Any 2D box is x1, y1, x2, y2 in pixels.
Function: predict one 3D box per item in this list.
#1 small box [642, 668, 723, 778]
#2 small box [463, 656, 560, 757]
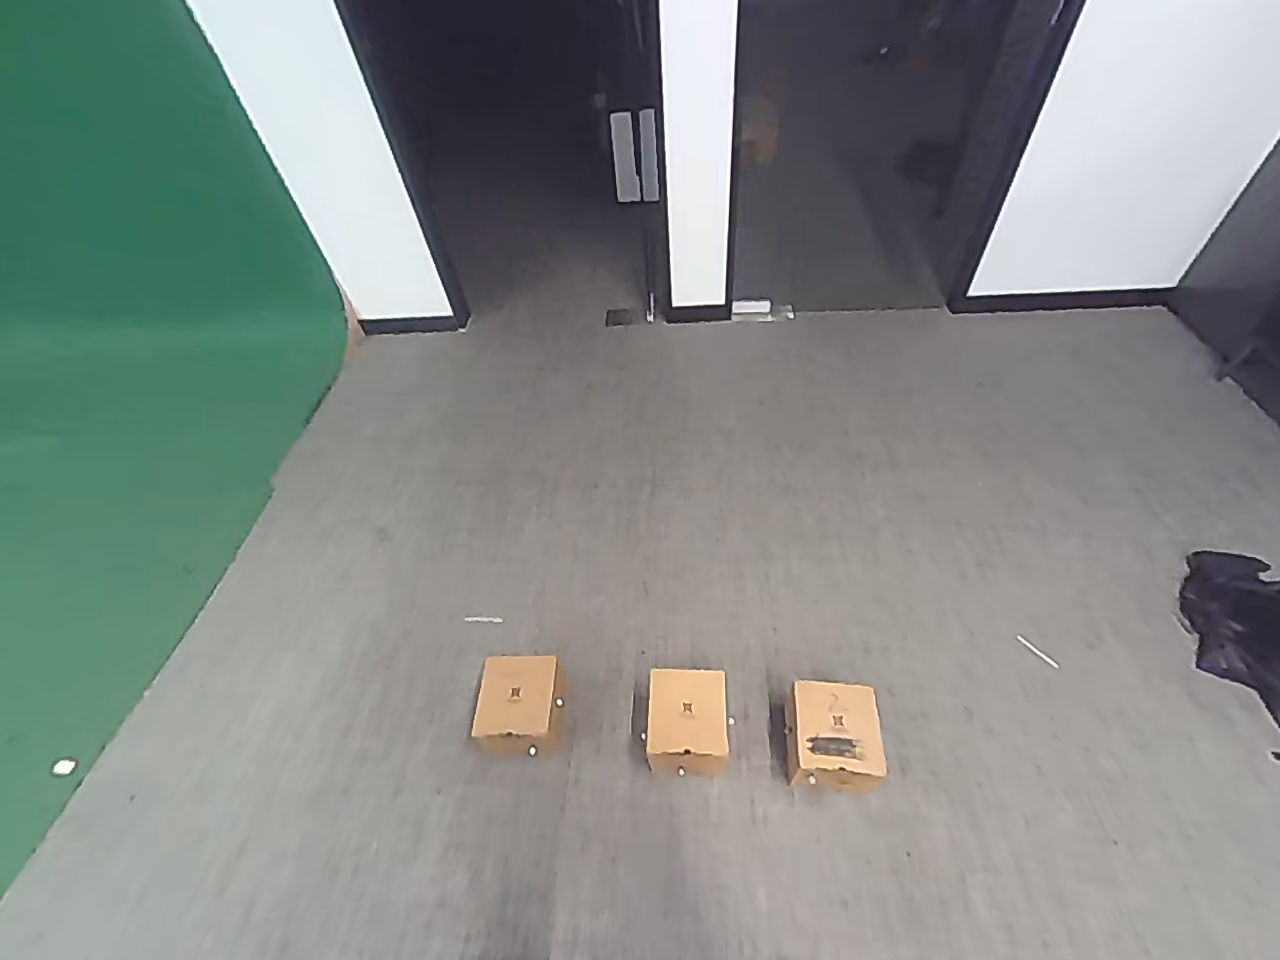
[{"bbox_3d":[0.092,0.533,1.184,0.168,0.176,0.179,0,49,4],"label":"small box"},{"bbox_3d":[-0.281,0.518,1.229,0.168,0.176,0.179,-2,48,3],"label":"small box"}]
